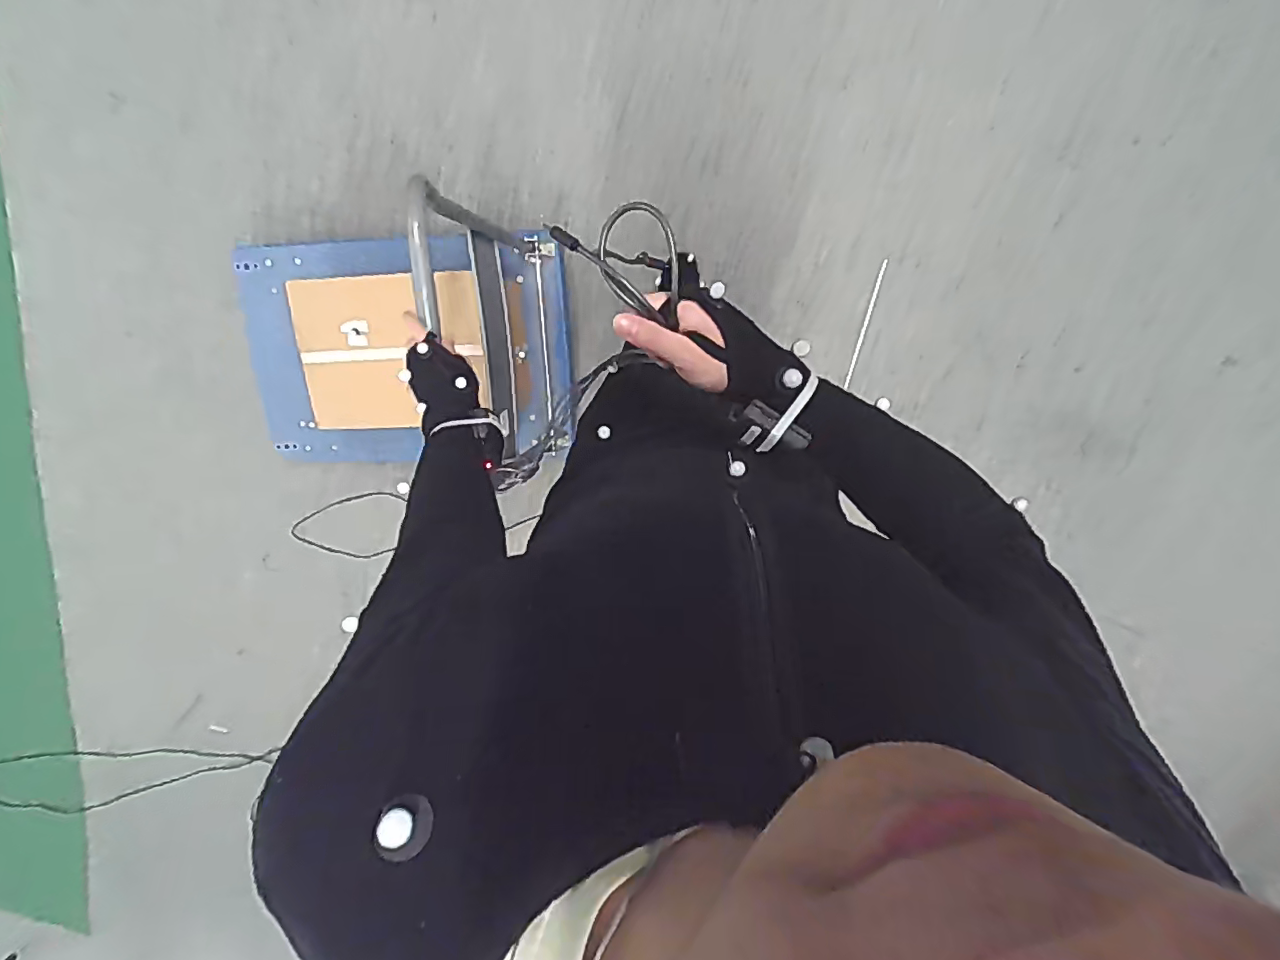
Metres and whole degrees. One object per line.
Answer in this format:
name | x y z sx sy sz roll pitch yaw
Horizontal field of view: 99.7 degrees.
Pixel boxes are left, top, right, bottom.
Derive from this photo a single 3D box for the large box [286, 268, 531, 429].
large box | -0.504 -0.306 1.263 0.408 0.320 0.320 -1 106 6
